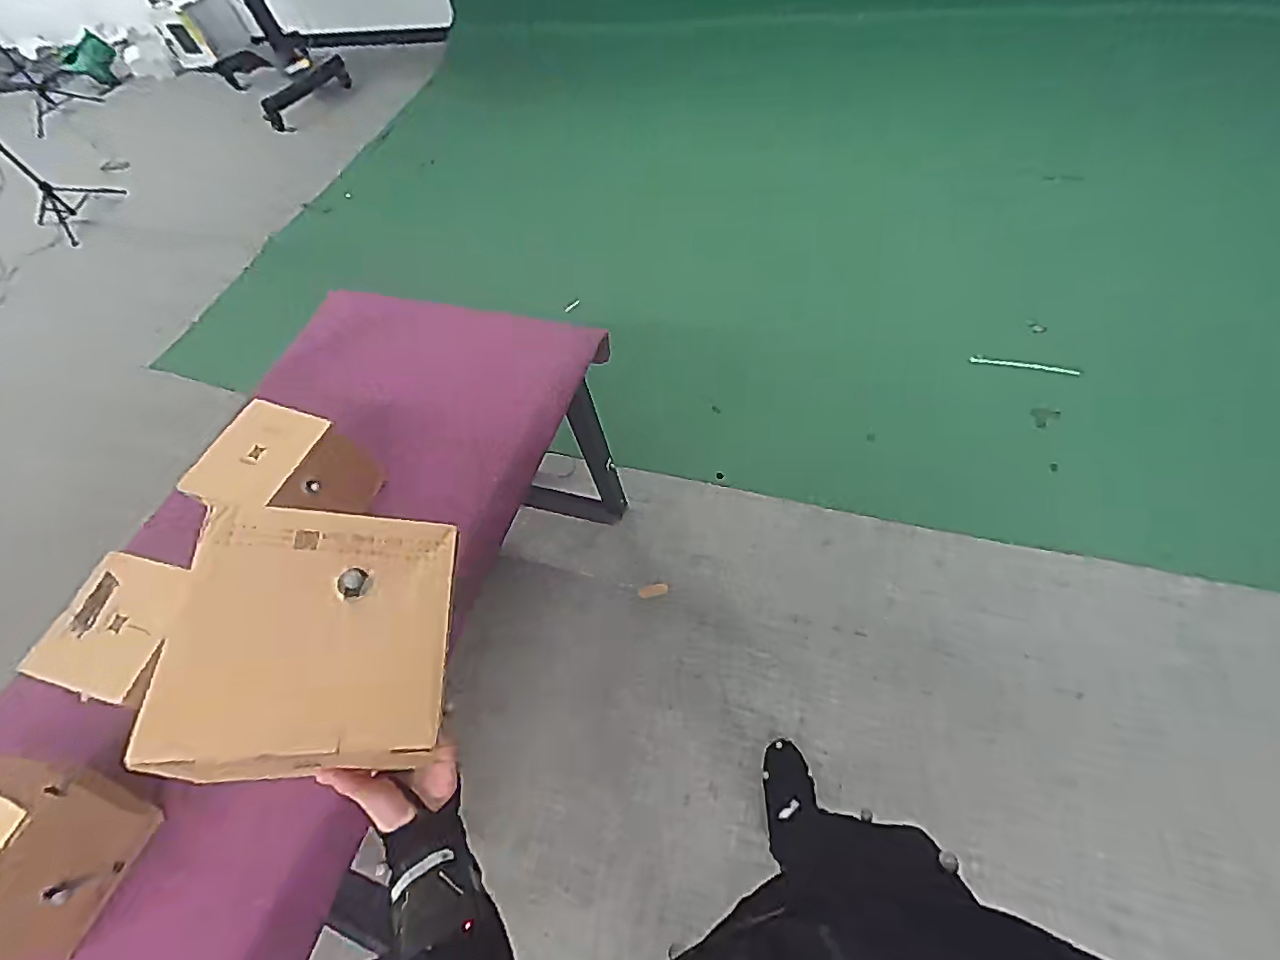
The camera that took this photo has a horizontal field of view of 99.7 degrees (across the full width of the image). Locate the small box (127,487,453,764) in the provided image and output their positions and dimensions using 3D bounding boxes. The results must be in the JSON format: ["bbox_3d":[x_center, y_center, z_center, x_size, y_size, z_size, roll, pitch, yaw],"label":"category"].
[{"bbox_3d":[-0.252,0.127,0.438,0.168,0.179,0.176,8,57,-22],"label":"small box"}]

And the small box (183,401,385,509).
[{"bbox_3d":[-0.552,0.007,0.868,0.168,0.176,0.179,17,63,18],"label":"small box"}]

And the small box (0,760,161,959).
[{"bbox_3d":[-0.736,0.441,0.632,0.179,0.176,0.168,14,62,16],"label":"small box"}]

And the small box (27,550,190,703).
[{"bbox_3d":[-0.648,0.219,0.753,0.179,0.176,0.168,10,61,14],"label":"small box"}]
